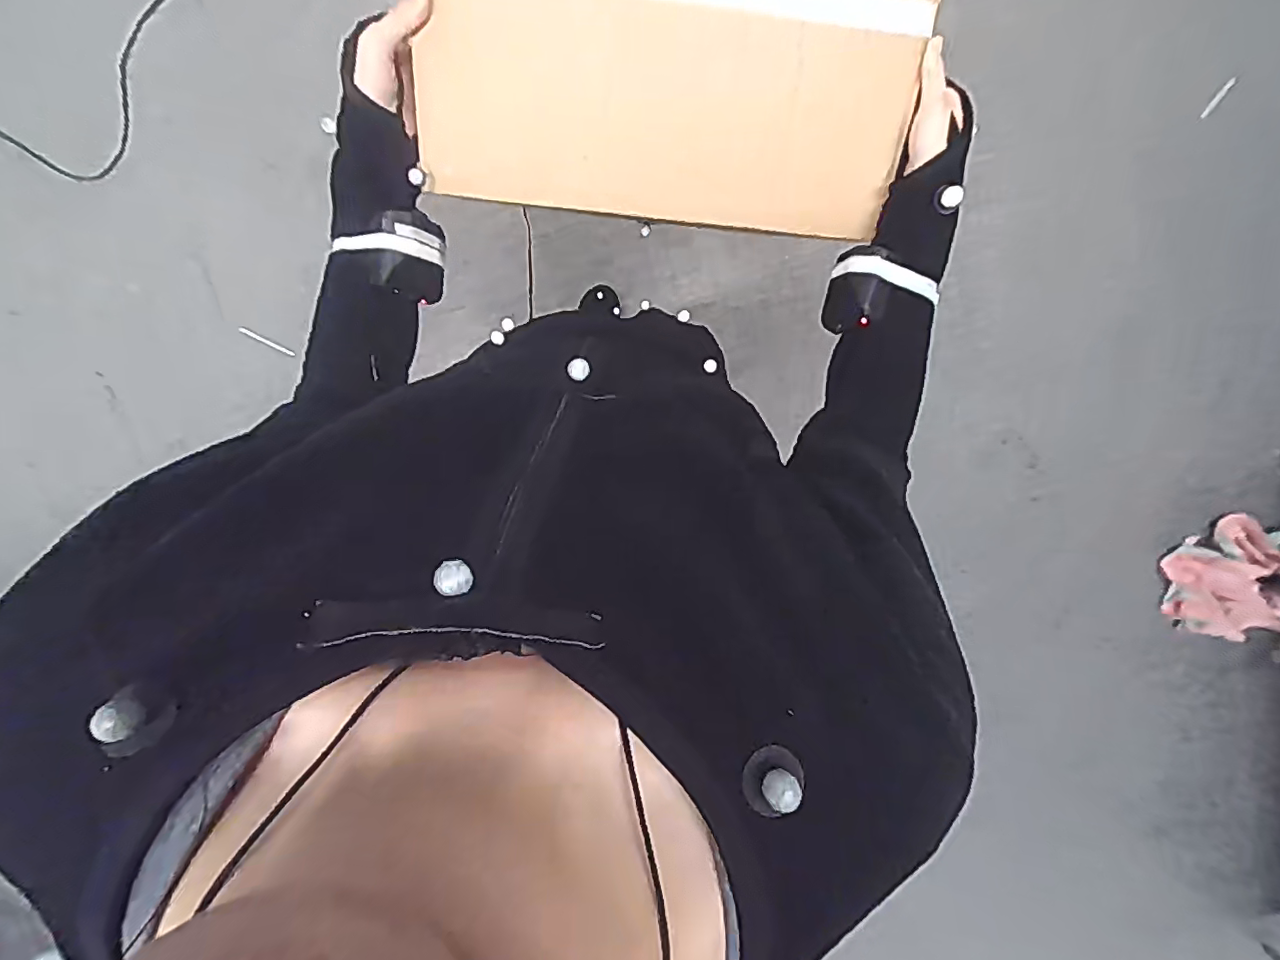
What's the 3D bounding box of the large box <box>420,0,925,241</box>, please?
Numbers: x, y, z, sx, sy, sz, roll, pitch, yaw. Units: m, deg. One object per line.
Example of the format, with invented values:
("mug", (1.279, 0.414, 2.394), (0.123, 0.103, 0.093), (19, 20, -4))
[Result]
("large box", (0.024, -0.435, 0.561), (0.408, 0.320, 0.320), (4, 114, -4))
